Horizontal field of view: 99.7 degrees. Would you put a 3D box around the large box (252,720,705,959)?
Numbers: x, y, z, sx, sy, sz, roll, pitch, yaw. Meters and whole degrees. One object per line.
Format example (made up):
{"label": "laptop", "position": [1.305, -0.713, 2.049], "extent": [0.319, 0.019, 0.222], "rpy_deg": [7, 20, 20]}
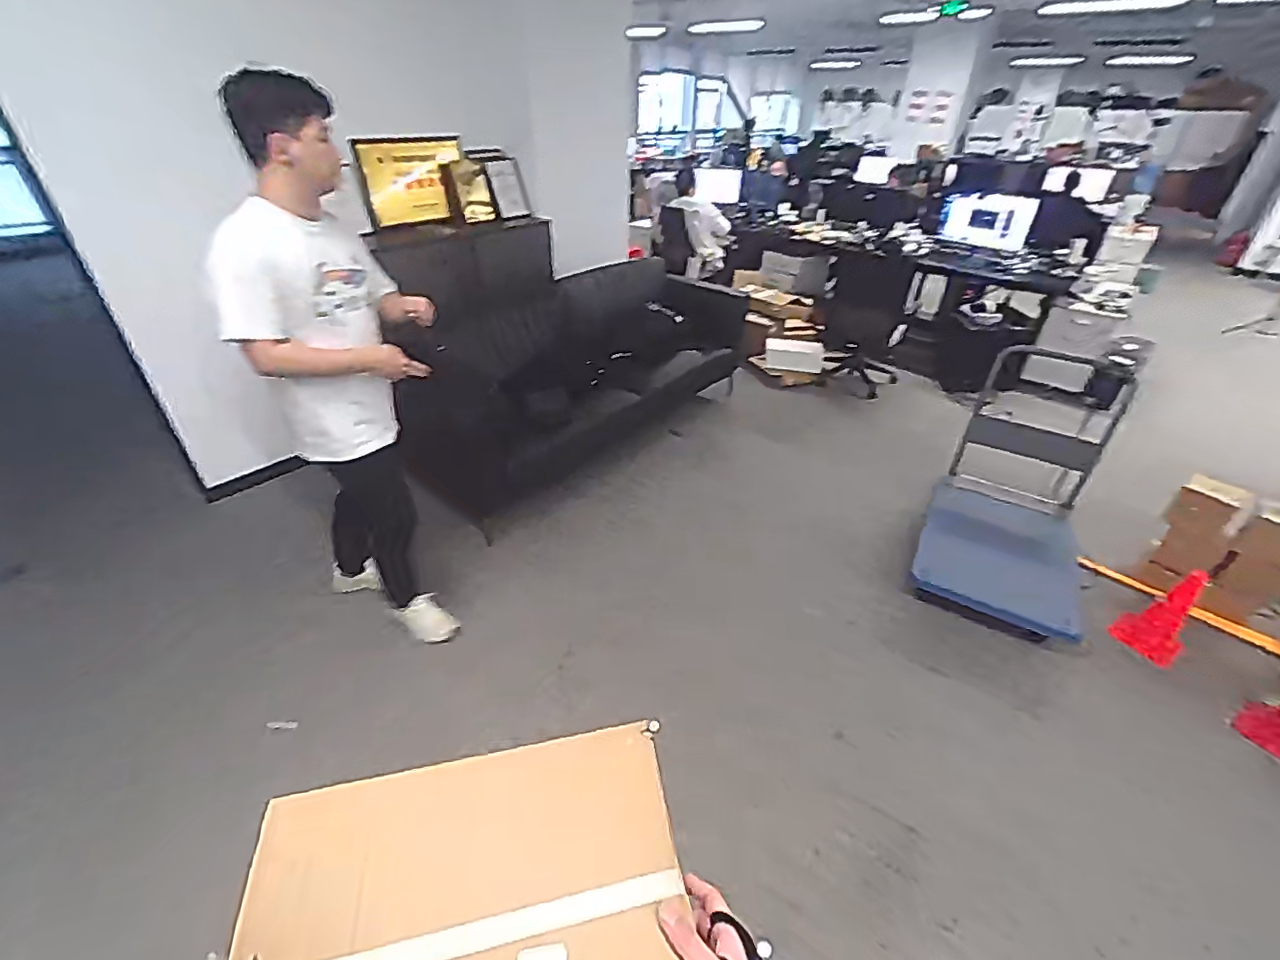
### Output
{"label": "large box", "position": [-0.155, 0.524, 0.605], "extent": [0.408, 0.320, 0.320], "rpy_deg": [-8, 46, -11]}
